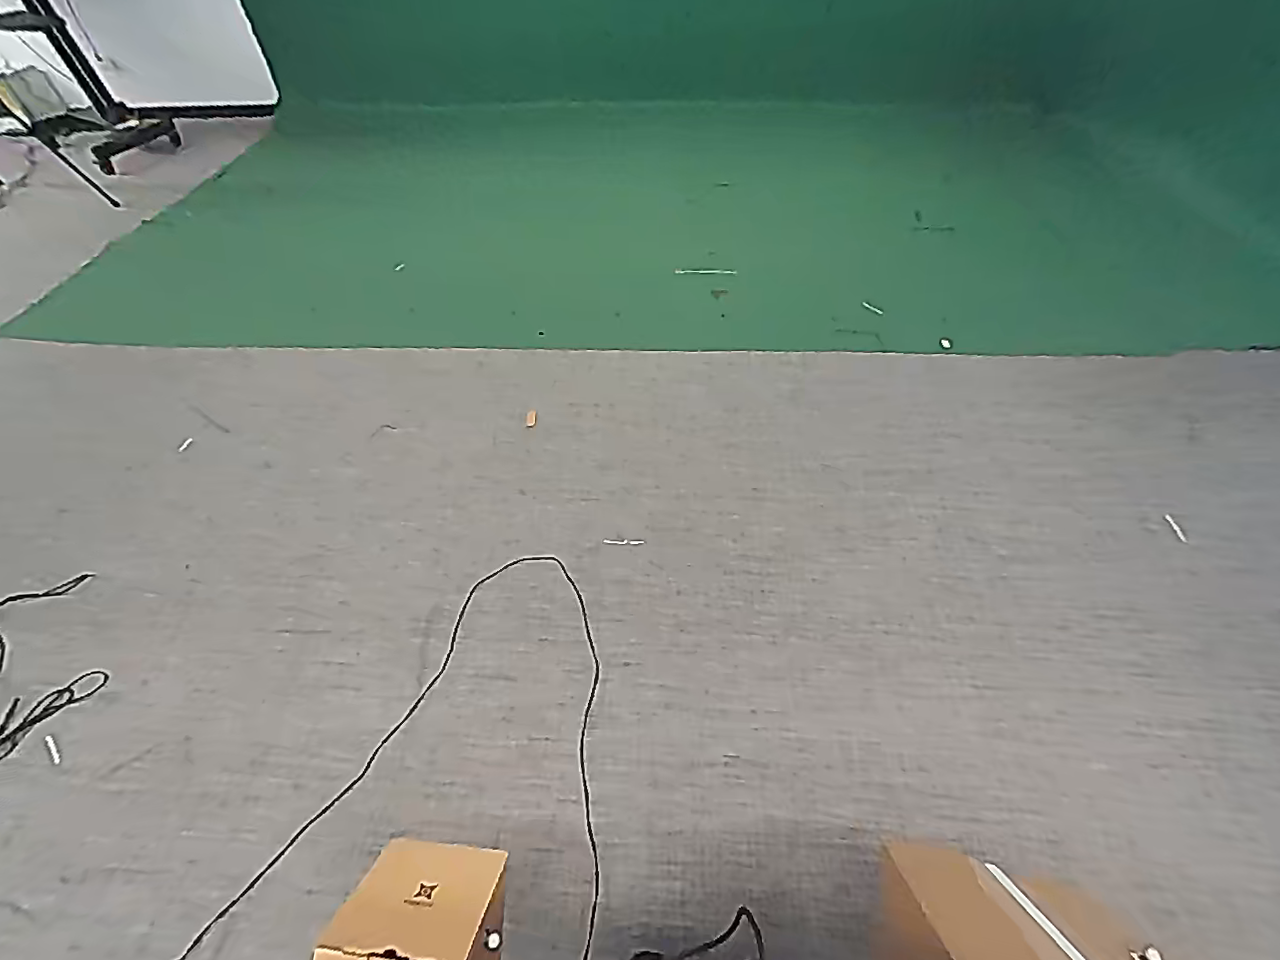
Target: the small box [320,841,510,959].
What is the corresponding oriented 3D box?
[{"bbox_3d":[-0.271,0.591,0.661,0.168,0.179,0.176,5,91,2],"label":"small box"}]
